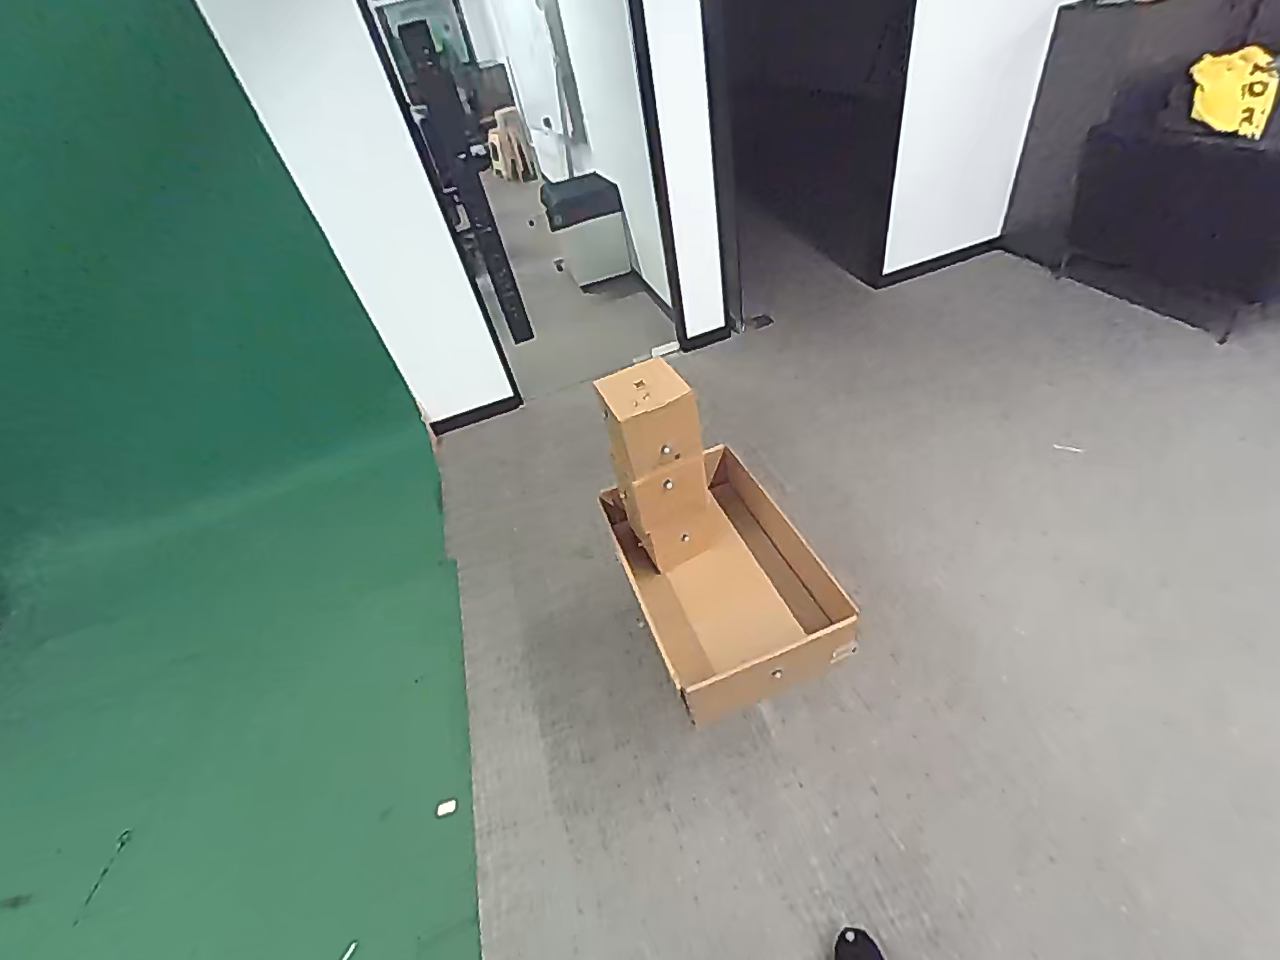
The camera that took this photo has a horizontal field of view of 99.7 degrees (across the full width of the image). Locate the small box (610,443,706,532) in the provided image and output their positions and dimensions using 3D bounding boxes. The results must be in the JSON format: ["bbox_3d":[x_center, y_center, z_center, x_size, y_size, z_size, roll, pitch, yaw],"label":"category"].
[{"bbox_3d":[0.049,-0.009,1.297,0.179,0.176,0.168,-24,43,-10],"label":"small box"}]

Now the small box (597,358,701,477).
[{"bbox_3d":[0.021,-0.136,1.195,0.168,0.176,0.179,-23,44,-8],"label":"small box"}]
